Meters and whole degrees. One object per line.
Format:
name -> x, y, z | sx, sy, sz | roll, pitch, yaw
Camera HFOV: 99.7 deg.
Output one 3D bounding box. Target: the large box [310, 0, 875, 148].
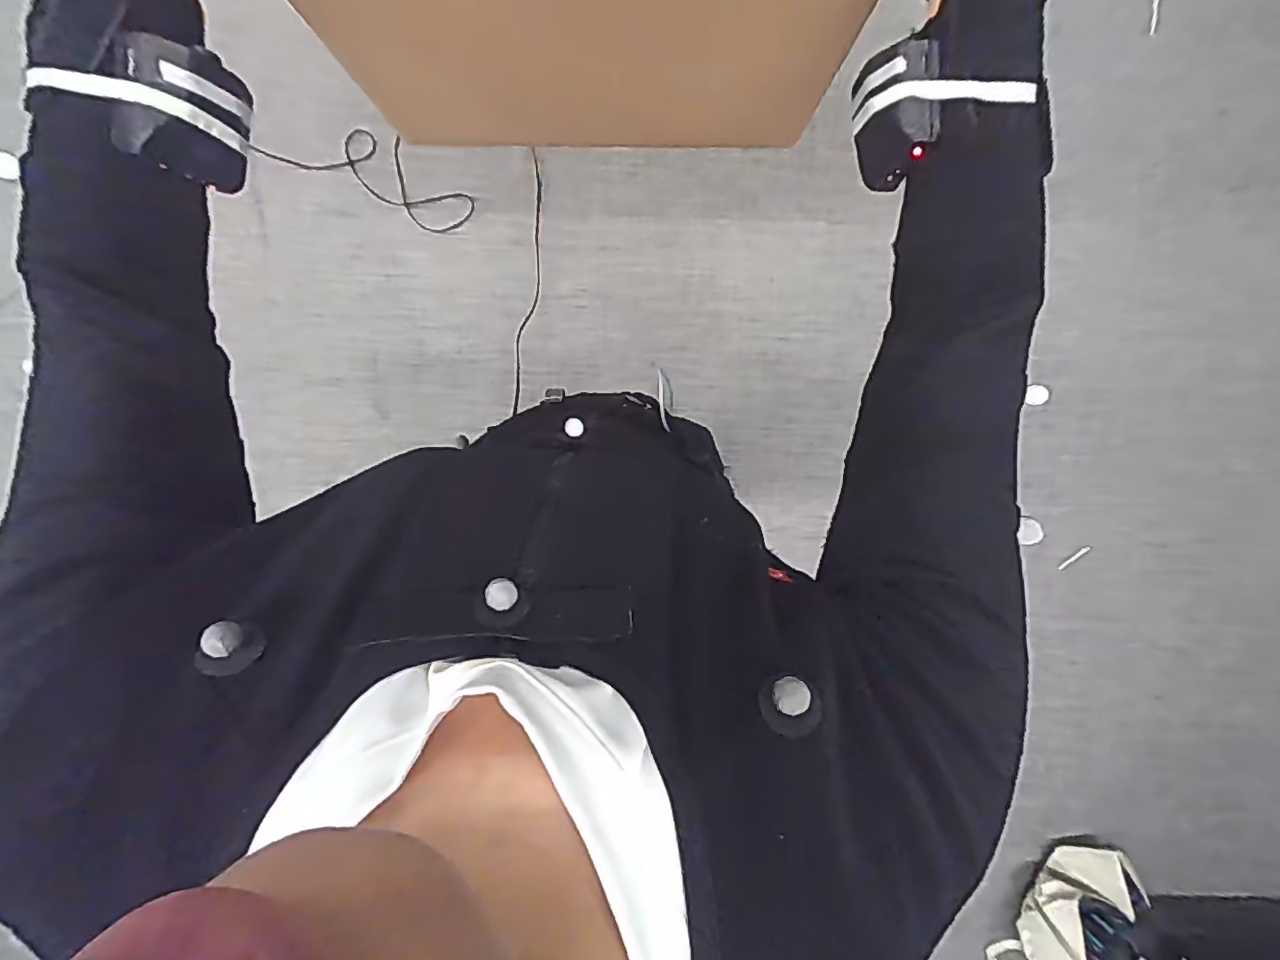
large box -> -0.036, -0.482, 0.400 | 0.408, 0.320, 0.320 | -1, 97, -2
